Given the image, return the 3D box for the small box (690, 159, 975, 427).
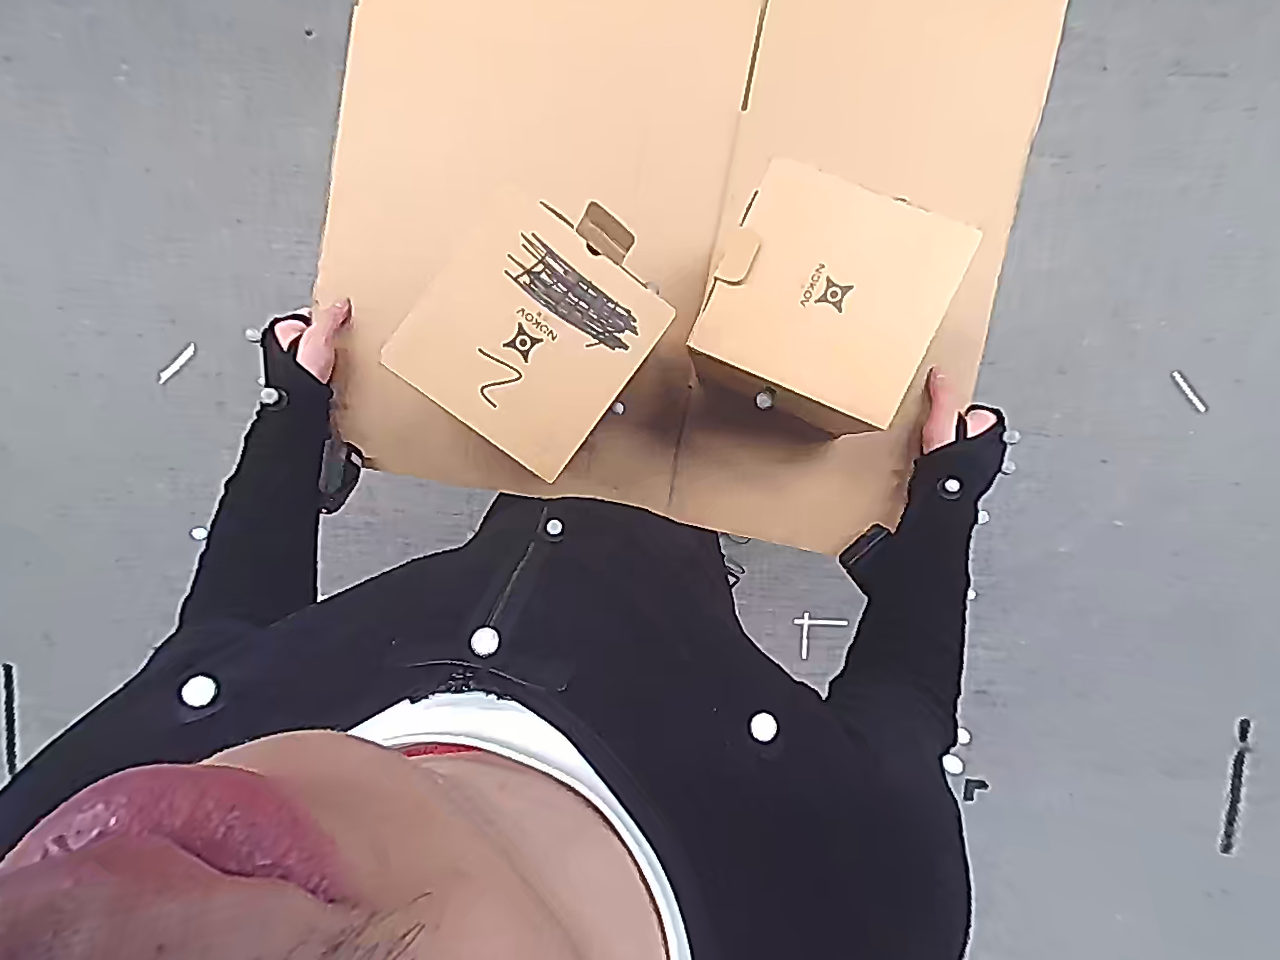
[{"bbox_3d":[0.165,-0.159,0.518,0.179,0.176,0.168,25,97,8],"label":"small box"}]
